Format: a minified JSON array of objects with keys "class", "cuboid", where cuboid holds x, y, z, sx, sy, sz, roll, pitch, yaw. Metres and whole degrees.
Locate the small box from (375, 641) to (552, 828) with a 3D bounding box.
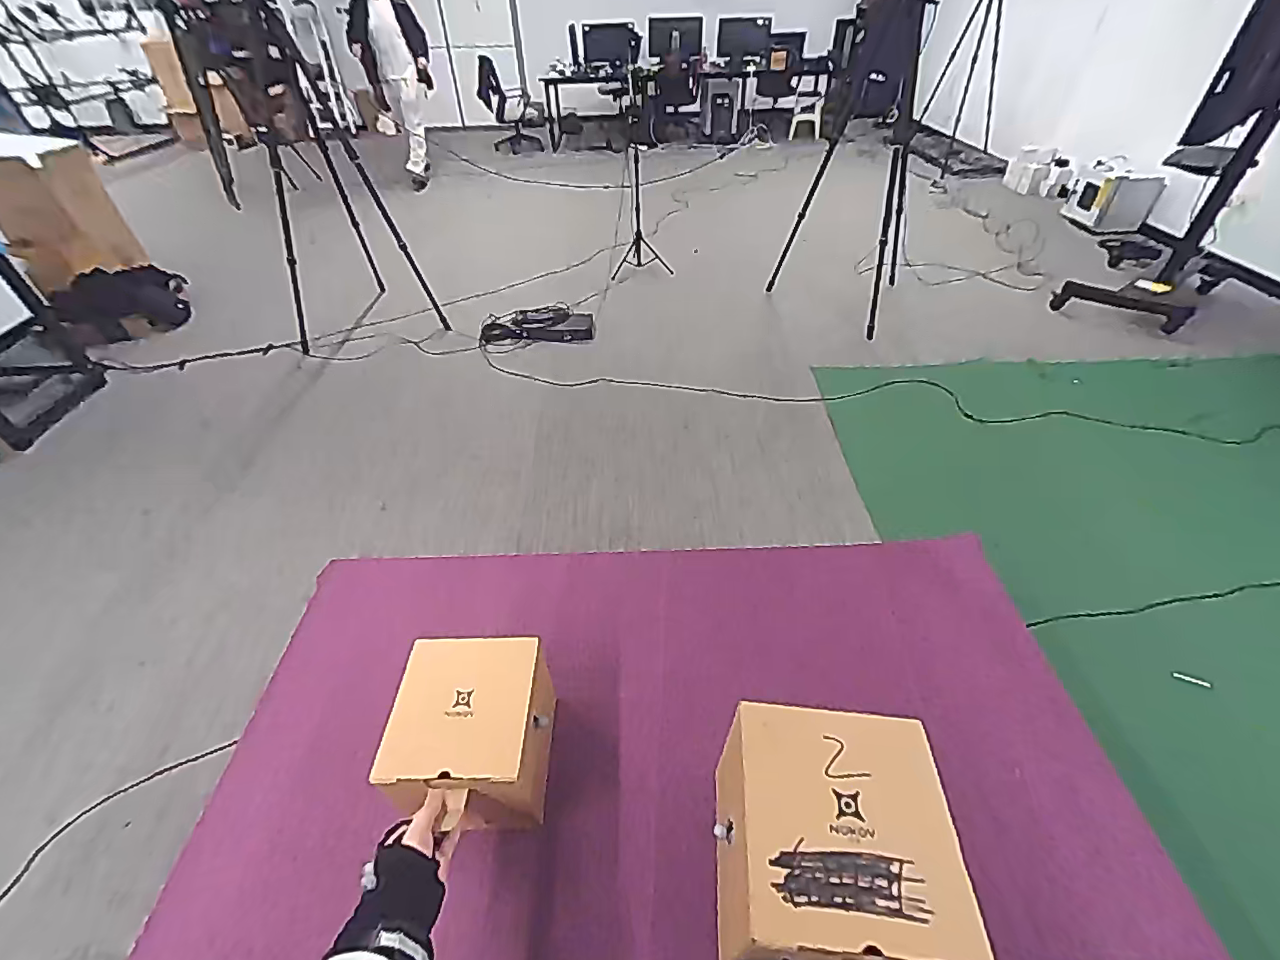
[{"class":"small box","cuboid":[-0.214,0.335,0.716,0.168,0.176,0.179,-1,43,1]}]
